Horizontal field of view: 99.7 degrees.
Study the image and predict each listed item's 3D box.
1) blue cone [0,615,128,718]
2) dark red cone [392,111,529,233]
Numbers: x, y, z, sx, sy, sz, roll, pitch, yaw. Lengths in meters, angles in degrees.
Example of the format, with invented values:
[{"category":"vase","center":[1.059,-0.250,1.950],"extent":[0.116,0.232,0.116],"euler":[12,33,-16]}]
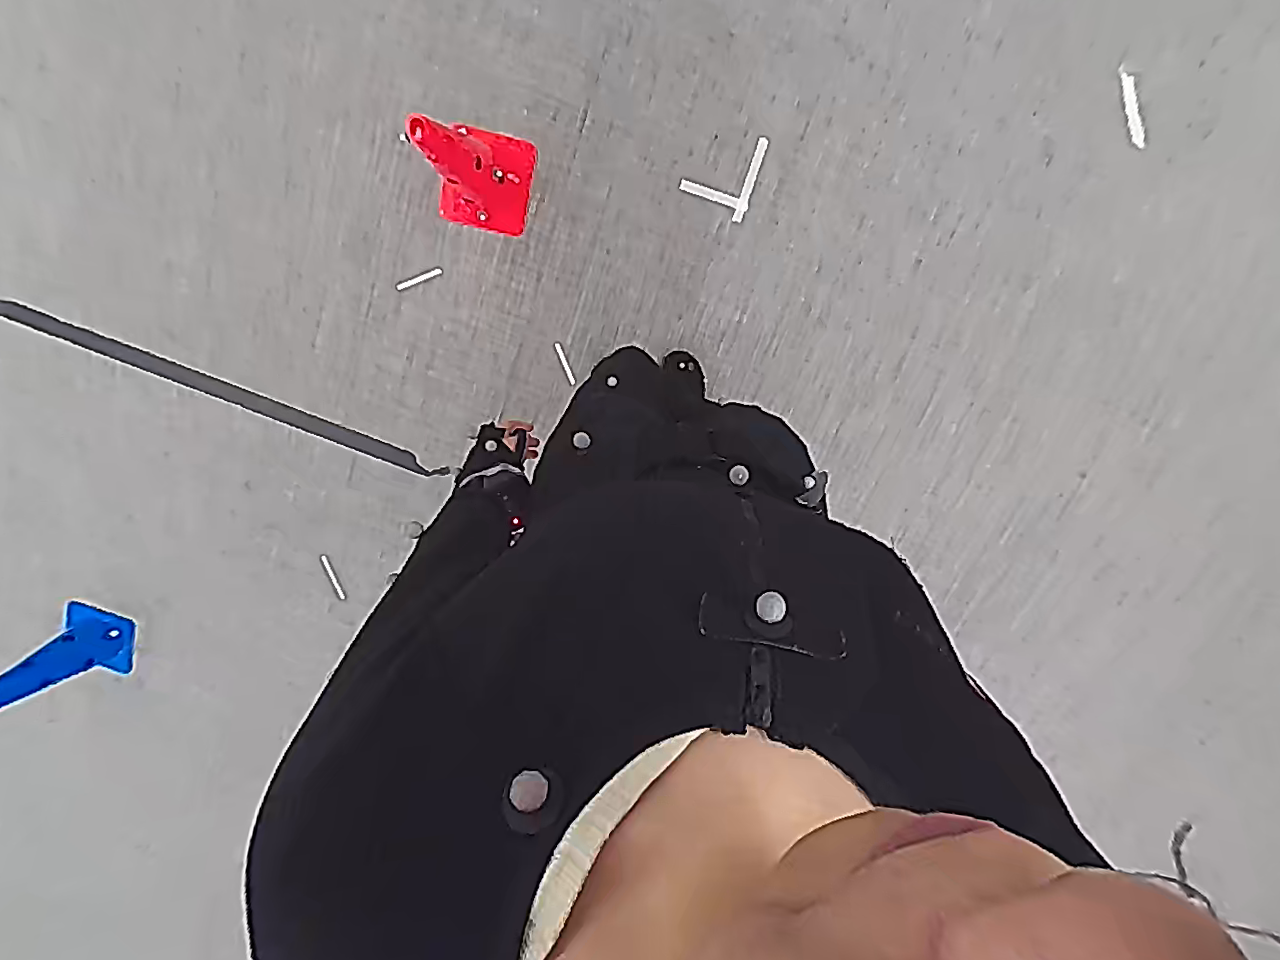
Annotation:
[{"category":"blue cone","center":[-1.621,0.541,1.444],"extent":[0.193,0.380,0.192],"euler":[21,107,-3]},{"category":"dark red cone","center":[-0.358,-0.610,1.021],"extent":[0.202,0.394,0.201],"euler":[13,107,-1]}]
